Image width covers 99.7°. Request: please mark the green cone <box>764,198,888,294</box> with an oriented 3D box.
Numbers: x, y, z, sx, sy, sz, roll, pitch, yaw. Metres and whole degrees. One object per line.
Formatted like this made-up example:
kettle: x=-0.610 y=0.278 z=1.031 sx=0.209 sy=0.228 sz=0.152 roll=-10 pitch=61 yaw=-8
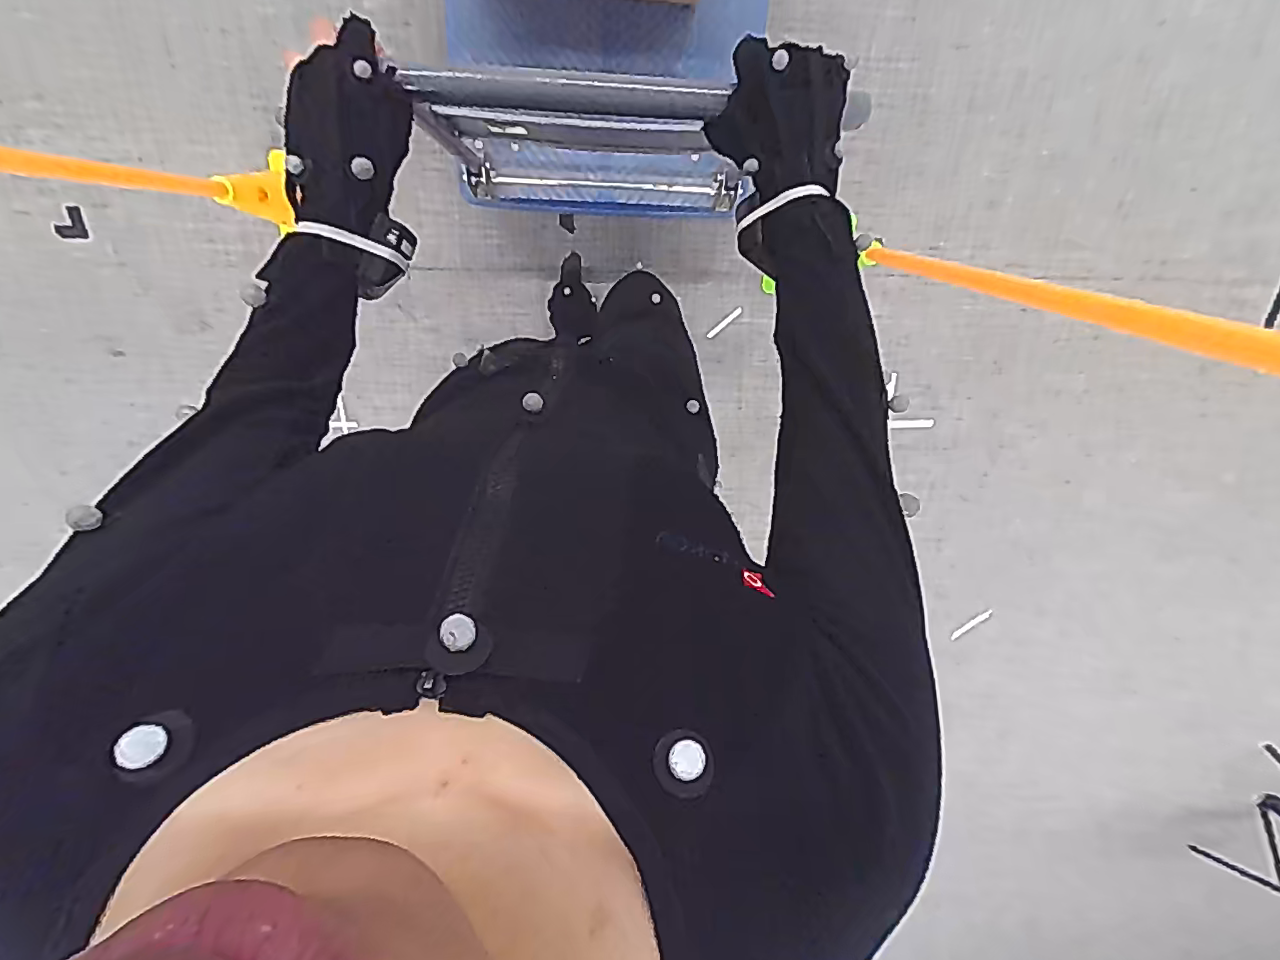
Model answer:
green cone: x=0.419 y=-0.494 z=1.153 sx=0.202 sy=0.368 sz=0.200 roll=4 pitch=114 yaw=-5
